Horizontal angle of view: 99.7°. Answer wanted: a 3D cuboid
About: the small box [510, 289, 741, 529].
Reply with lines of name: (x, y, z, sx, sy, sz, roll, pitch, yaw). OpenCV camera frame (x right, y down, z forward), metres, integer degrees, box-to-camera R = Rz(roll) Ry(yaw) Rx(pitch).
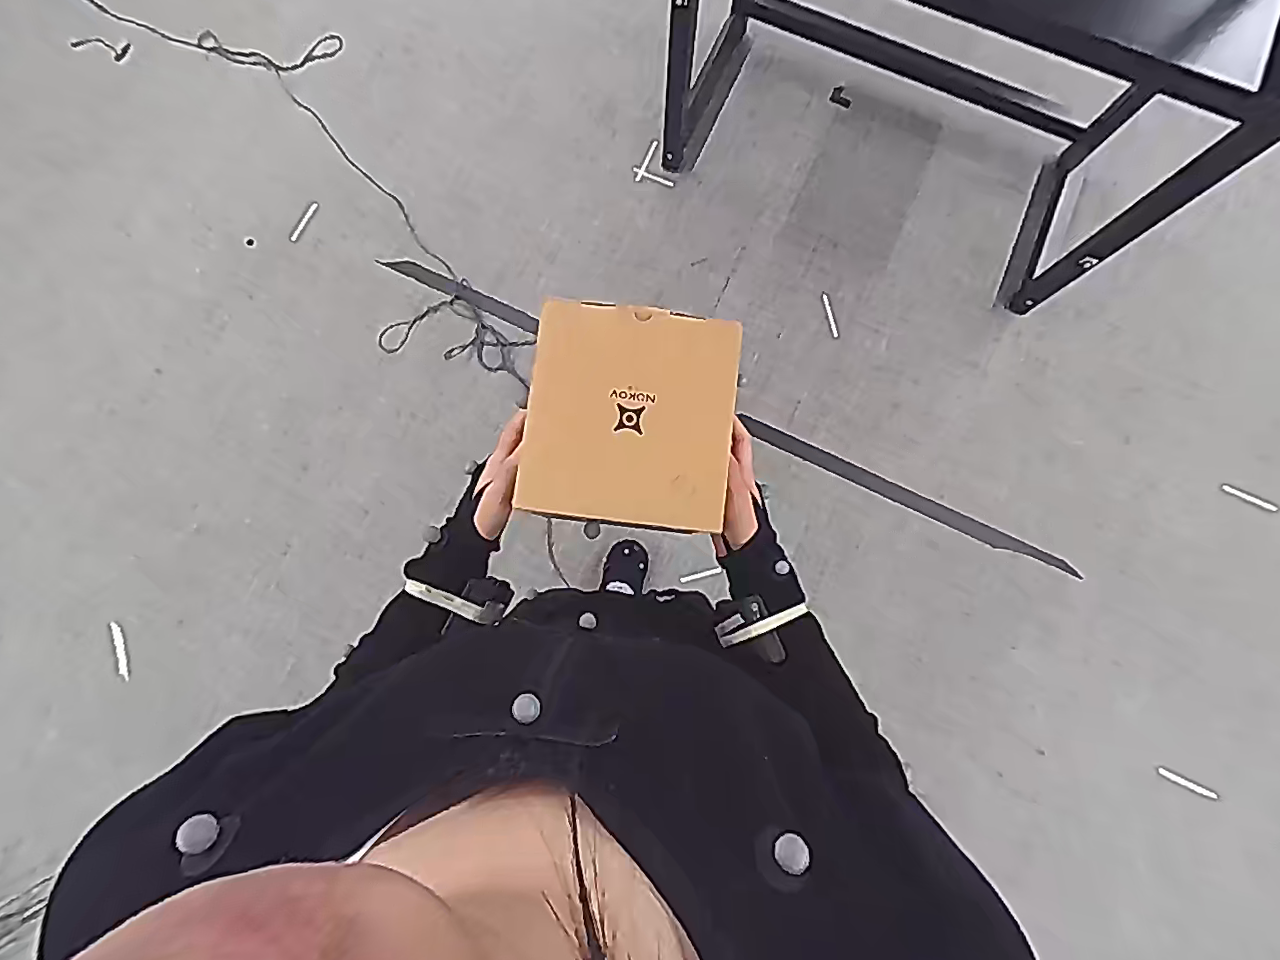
small box: (-0.012, -0.050, 0.504, 0.168, 0.176, 0.179, 7, 83, -2)
